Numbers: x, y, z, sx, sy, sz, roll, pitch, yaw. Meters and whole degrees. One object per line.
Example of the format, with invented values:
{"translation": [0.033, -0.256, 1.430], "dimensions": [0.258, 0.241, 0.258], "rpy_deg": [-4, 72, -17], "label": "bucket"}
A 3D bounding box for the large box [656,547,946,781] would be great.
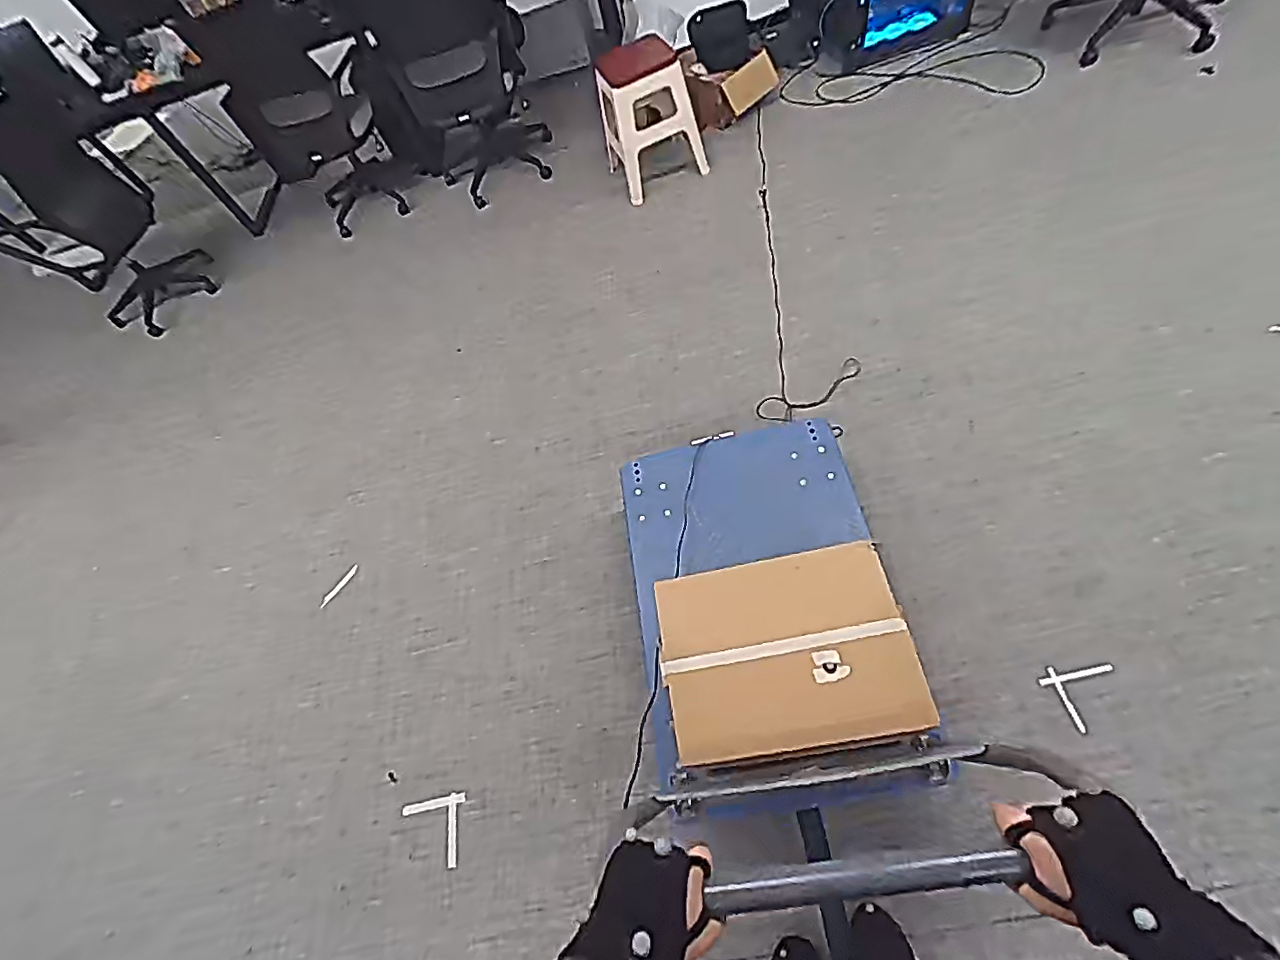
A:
{"translation": [0.271, 0.362, 1.018], "dimensions": [0.408, 0.320, 0.320], "rpy_deg": [-13, 60, 7], "label": "large box"}
